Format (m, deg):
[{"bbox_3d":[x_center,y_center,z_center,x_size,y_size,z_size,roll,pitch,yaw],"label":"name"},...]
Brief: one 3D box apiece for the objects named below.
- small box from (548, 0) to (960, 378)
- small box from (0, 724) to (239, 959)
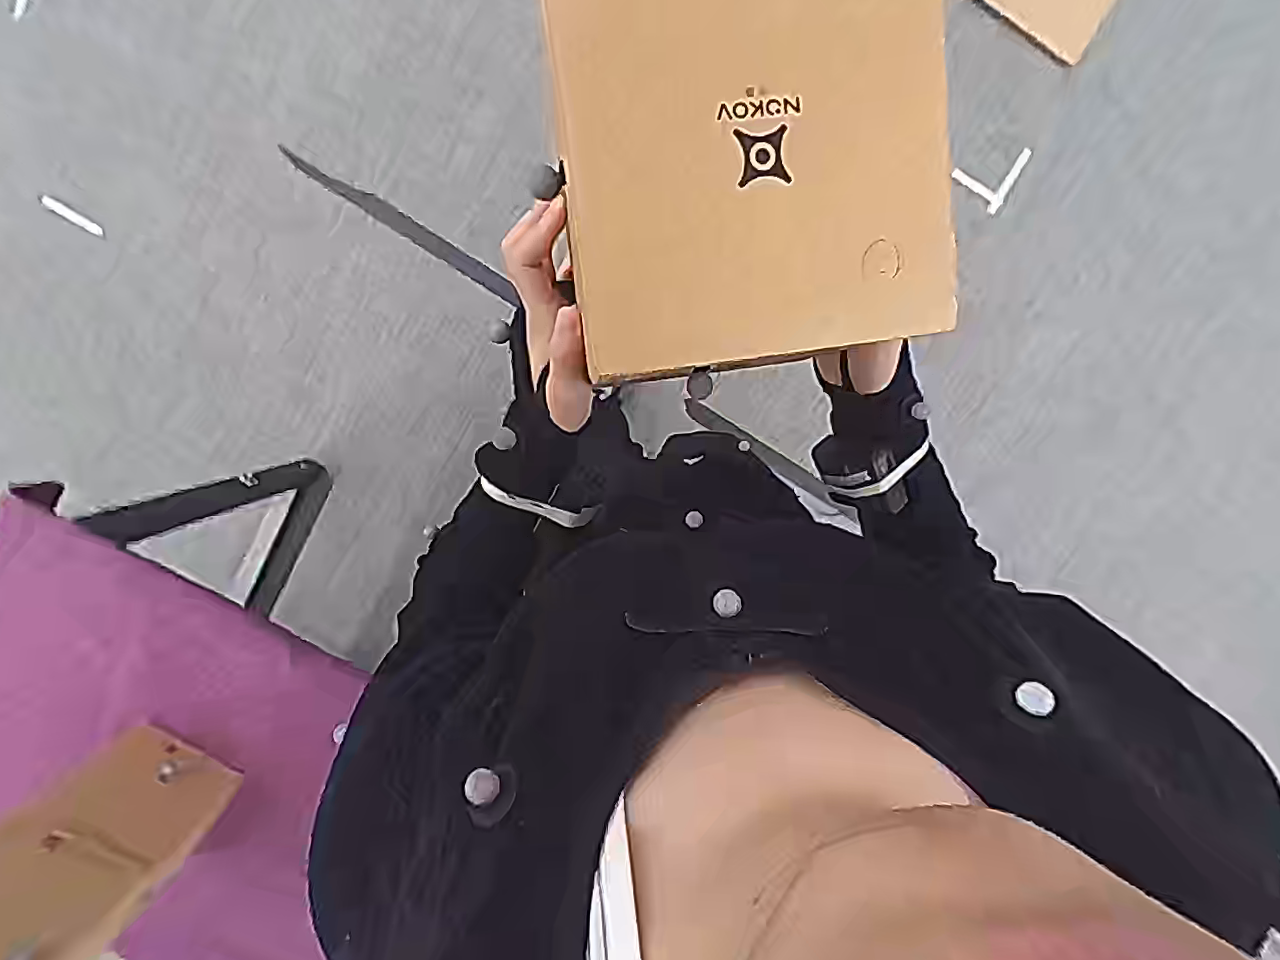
[{"bbox_3d":[0.046,-0.152,0.303,0.168,0.176,0.179,-8,98,-5],"label":"small box"},{"bbox_3d":[-0.712,0.486,0.746,0.168,0.176,0.179,36,98,-8],"label":"small box"}]
